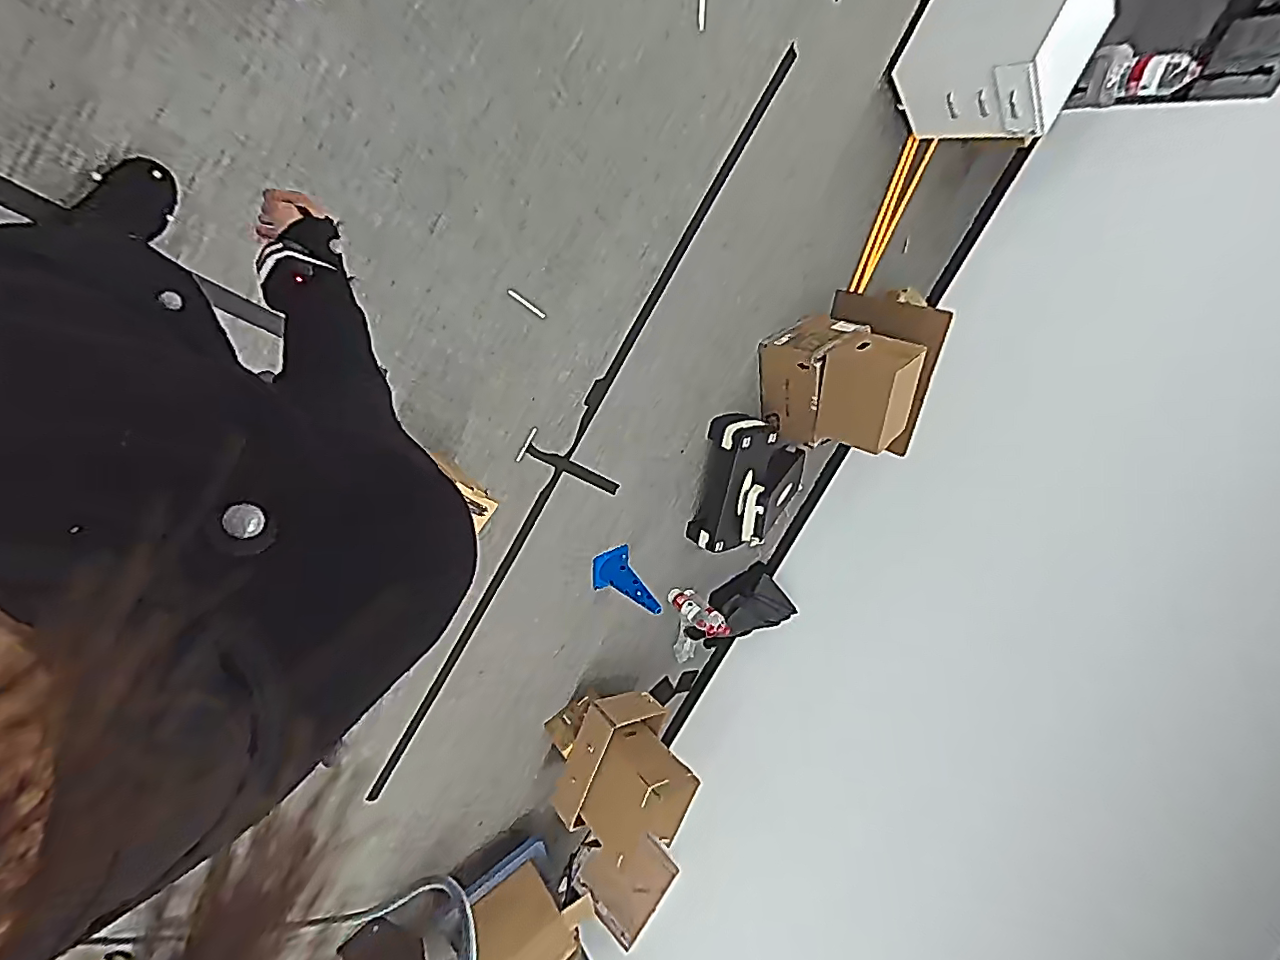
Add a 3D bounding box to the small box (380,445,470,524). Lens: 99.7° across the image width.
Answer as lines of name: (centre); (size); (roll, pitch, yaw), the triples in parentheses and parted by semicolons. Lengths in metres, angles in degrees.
small box: (-0.674, 0.010, 1.686); (0.179, 0.176, 0.168); (32, 91, -49)
